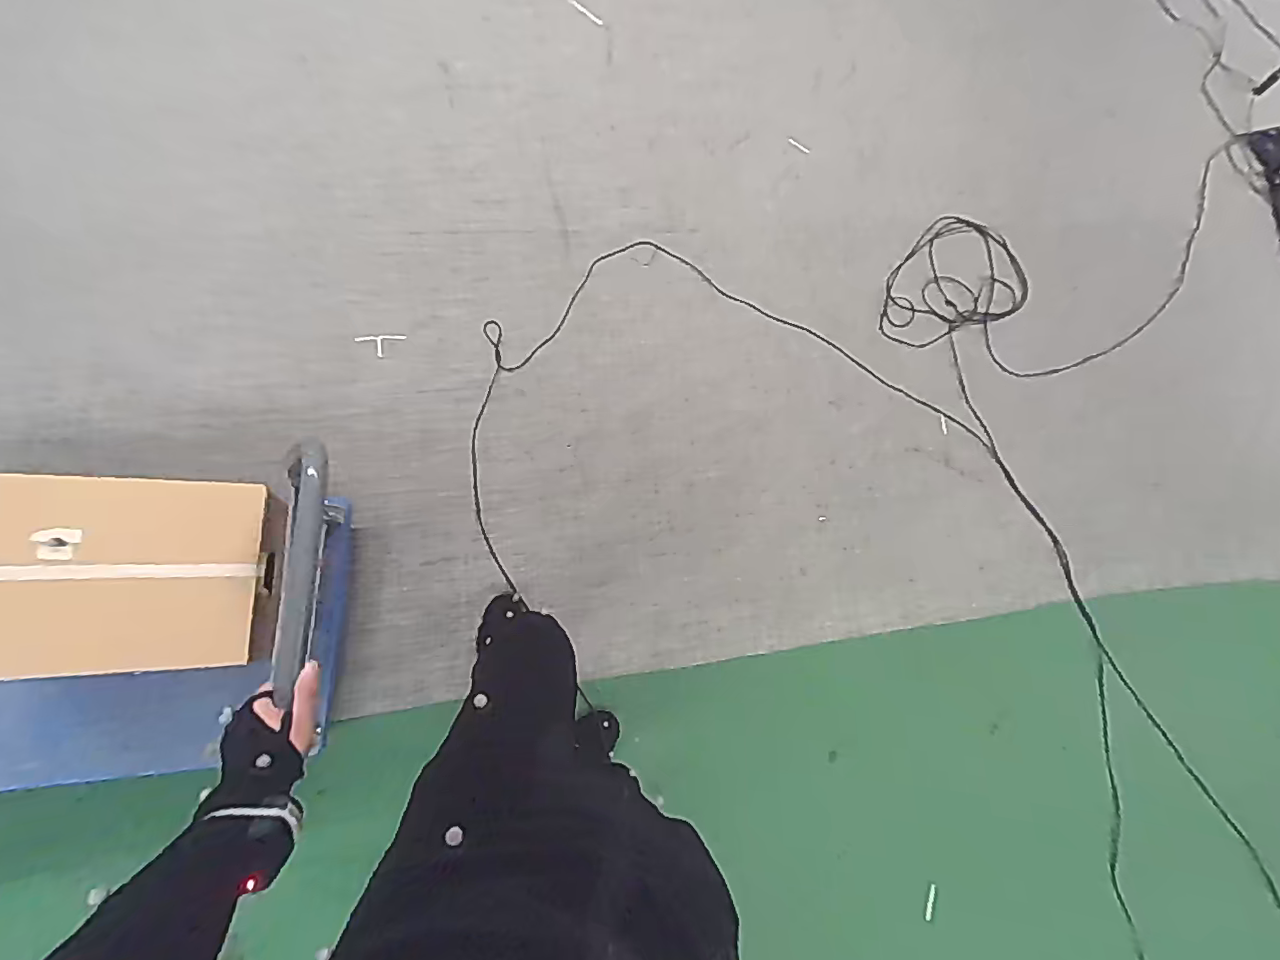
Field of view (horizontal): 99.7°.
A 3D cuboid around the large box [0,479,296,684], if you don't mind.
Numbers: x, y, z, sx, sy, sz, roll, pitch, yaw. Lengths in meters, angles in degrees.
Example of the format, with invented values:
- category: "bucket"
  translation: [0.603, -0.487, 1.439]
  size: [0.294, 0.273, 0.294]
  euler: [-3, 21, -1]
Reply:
- category: "large box"
  translation: [-0.899, 0.182, 0.996]
  size: [0.408, 0.320, 0.320]
  euler: [2, 76, -22]
